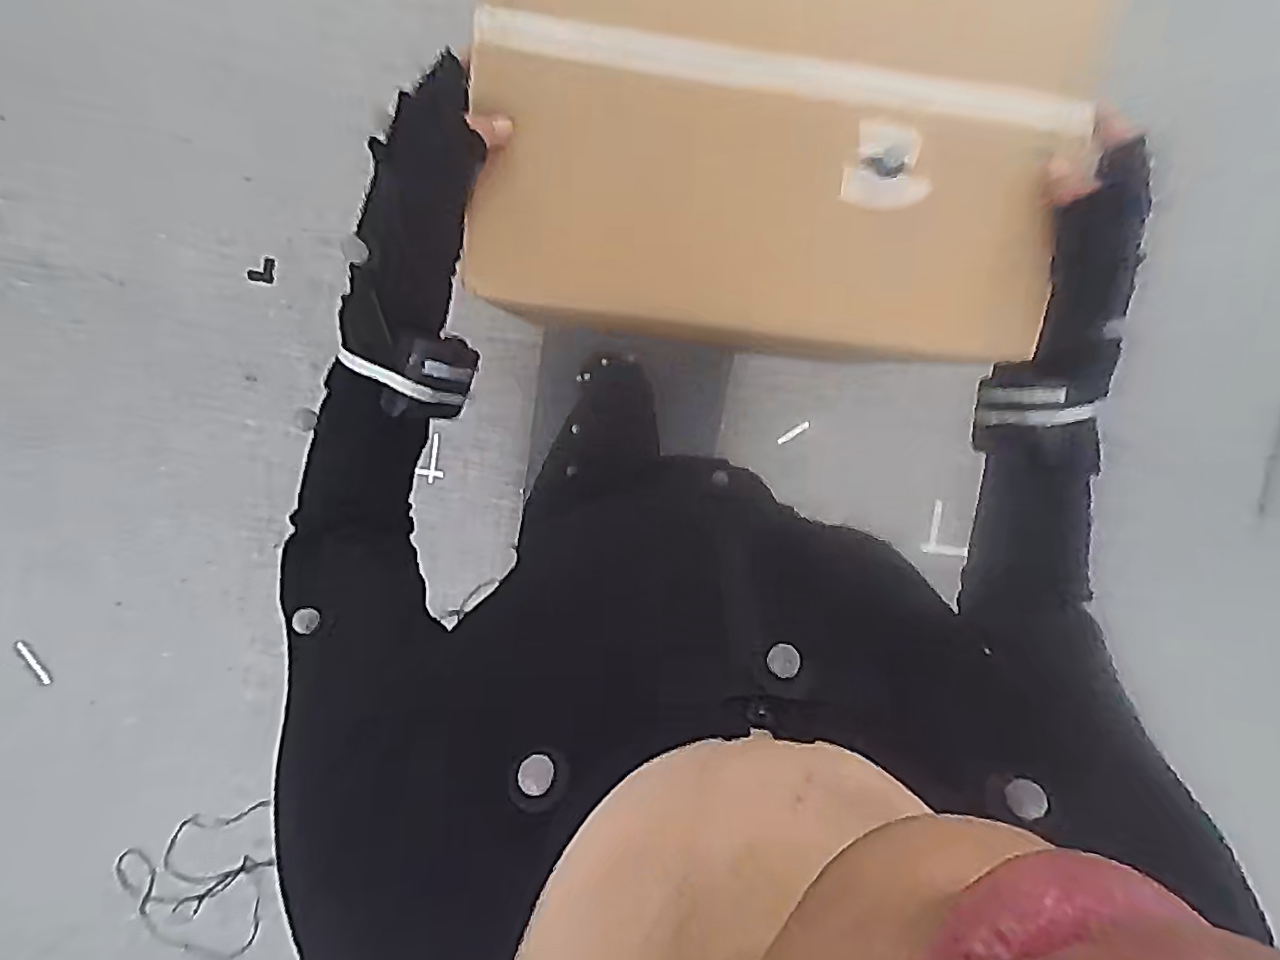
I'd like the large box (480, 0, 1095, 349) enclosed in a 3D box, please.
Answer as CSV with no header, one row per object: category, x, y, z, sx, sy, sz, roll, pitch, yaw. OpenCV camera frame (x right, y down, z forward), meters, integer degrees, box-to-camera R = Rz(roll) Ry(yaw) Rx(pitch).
large box,0.088,-0.303,0.504,0.408,0.320,0.320,5,102,-5

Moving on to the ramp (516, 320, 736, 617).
ramp,-0.041,-0.102,1.450,0.509,0.206,0.991,7,95,-4
